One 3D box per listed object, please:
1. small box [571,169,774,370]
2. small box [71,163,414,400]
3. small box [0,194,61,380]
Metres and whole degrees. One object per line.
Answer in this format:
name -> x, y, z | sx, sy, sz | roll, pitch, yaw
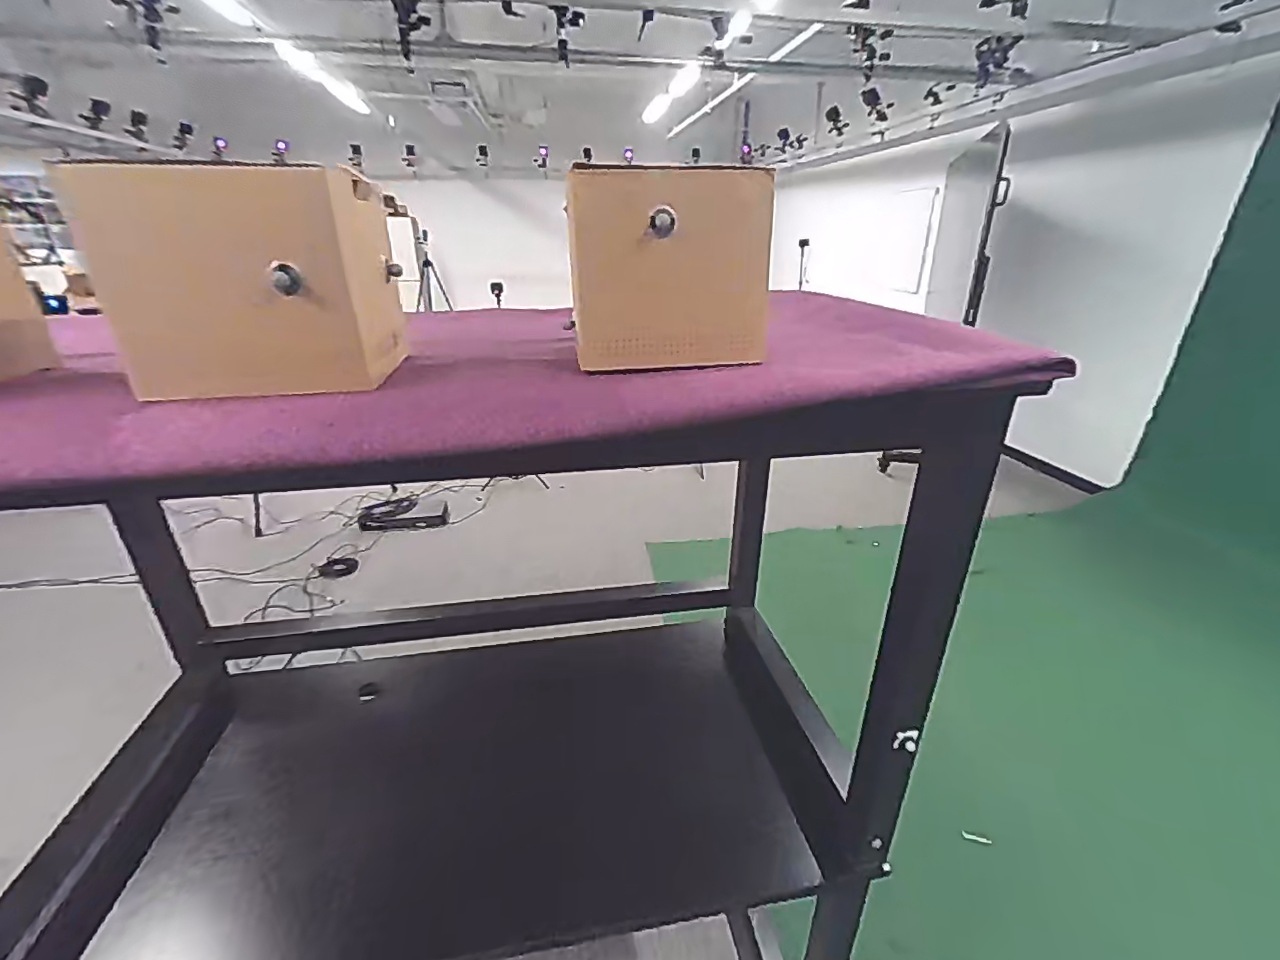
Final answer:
small box -> 0.023, -0.210, 0.560 | 0.179, 0.176, 0.168 | -3, 22, -8
small box -> -0.315, -0.175, 0.483 | 0.179, 0.176, 0.168 | -5, 24, -10
small box -> -0.630, -0.154, 0.422 | 0.168, 0.176, 0.179 | -3, 24, -11
